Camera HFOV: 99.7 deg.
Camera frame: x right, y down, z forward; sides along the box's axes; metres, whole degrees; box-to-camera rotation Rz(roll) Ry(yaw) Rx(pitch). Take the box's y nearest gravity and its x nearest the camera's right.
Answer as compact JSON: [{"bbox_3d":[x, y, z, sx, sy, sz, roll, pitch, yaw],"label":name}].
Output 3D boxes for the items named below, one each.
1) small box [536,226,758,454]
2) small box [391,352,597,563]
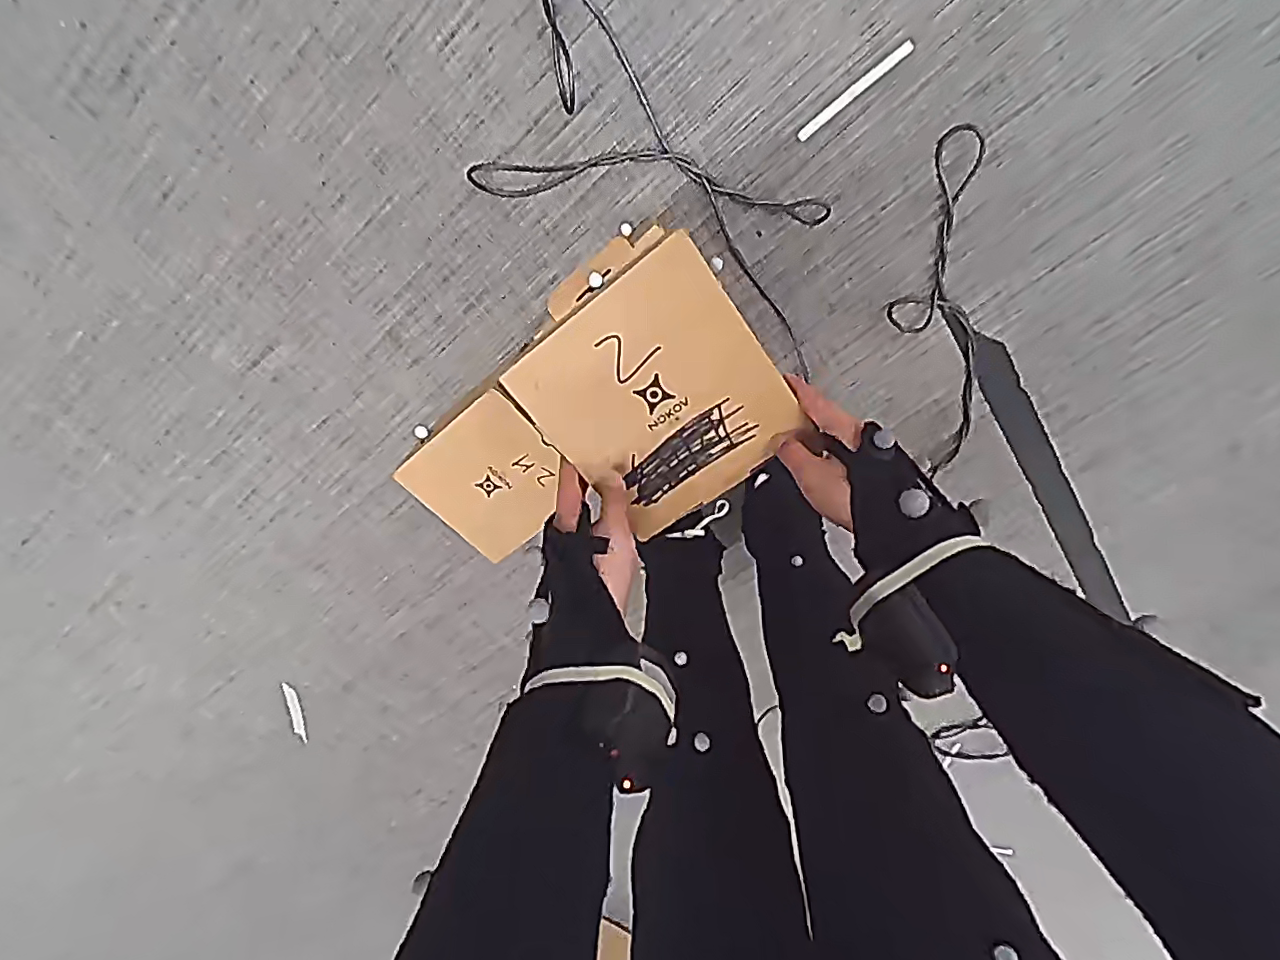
[{"bbox_3d":[0.006,-0.168,0.626,0.168,0.176,0.179,-37,114,17],"label":"small box"},{"bbox_3d":[-0.170,-0.034,0.694,0.179,0.176,0.168,-35,114,17],"label":"small box"}]
